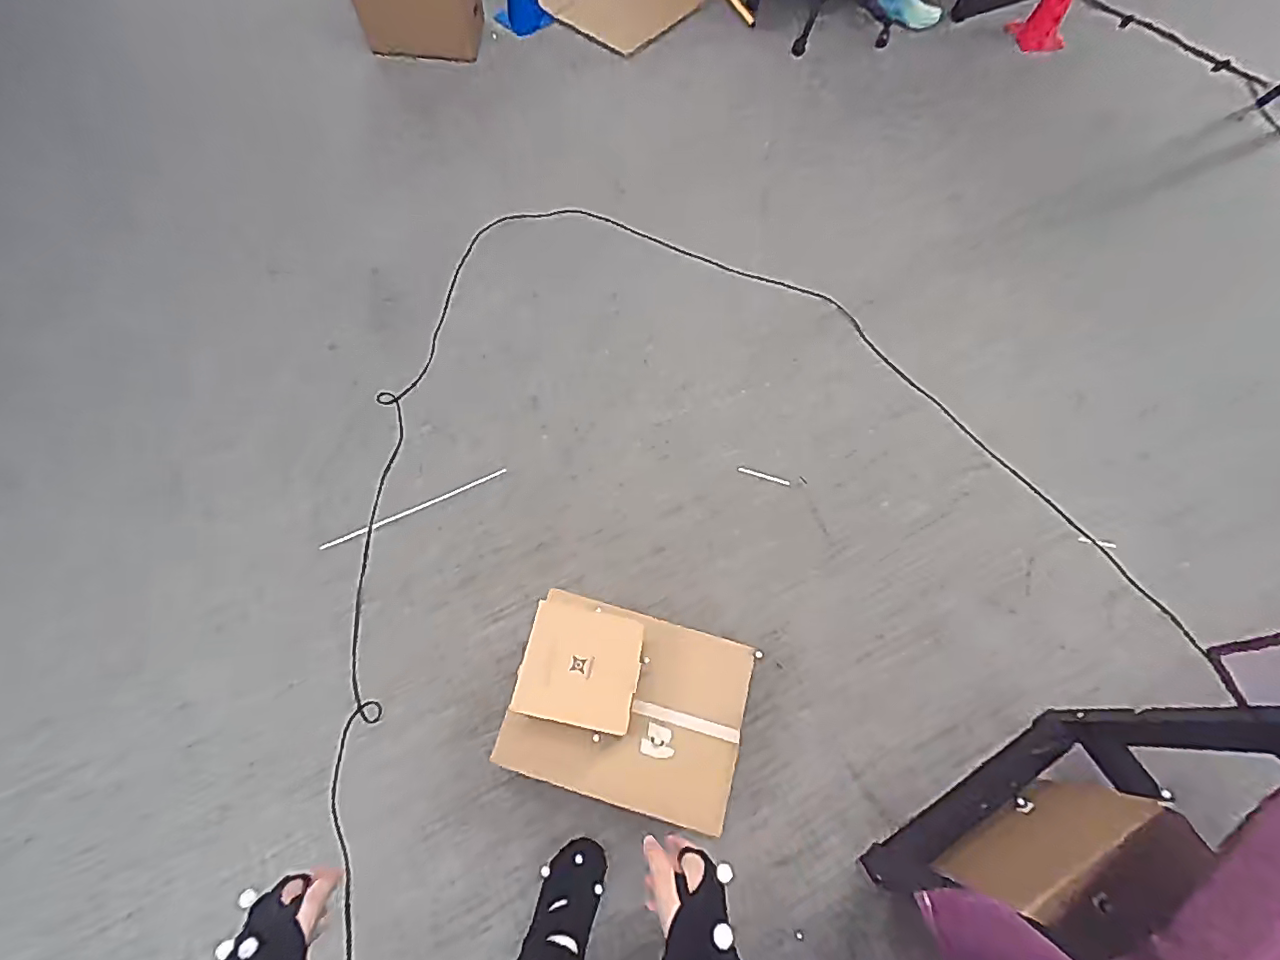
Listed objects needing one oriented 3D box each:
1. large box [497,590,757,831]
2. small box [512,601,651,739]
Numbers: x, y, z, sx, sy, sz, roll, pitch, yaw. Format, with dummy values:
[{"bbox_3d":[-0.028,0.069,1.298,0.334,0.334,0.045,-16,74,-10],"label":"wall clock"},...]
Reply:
[{"bbox_3d":[-0.022,0.449,1.089,0.408,0.320,0.320,16,68,4],"label":"large box"},{"bbox_3d":[-0.087,0.310,0.878,0.179,0.176,0.168,12,65,3],"label":"small box"}]
